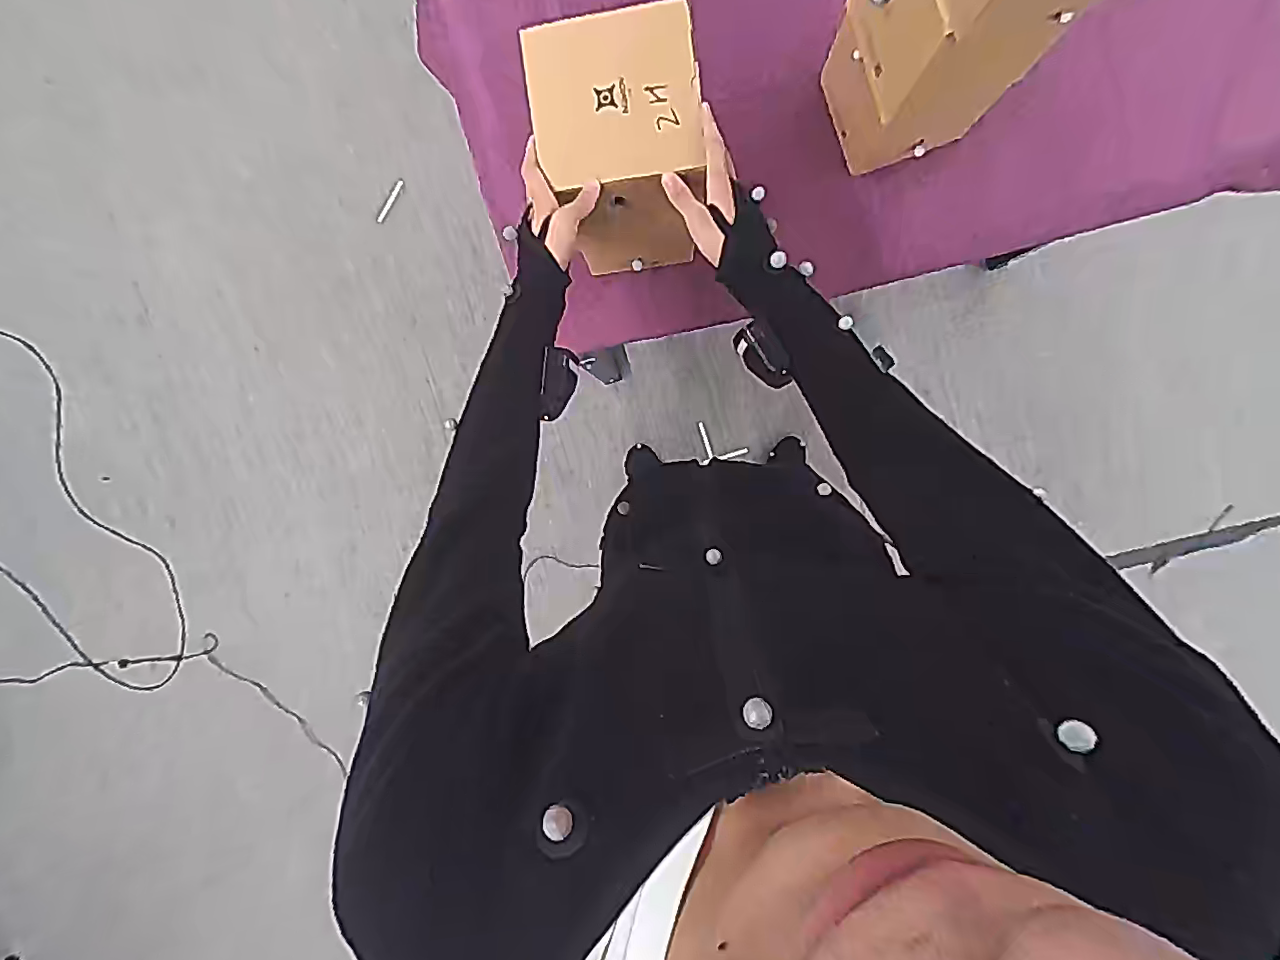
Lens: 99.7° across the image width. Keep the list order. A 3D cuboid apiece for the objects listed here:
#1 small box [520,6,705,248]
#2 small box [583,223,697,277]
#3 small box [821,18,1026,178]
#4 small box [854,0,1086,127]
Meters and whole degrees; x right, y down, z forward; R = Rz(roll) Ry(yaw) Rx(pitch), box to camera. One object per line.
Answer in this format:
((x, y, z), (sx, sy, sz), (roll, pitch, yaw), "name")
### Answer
((-0.022, -0.386, 0.626), (0.179, 0.176, 0.168), (-7, 94, 4), "small box")
((-0.011, -0.416, 0.788), (0.168, 0.176, 0.179), (-6, 94, 4), "small box")
((0.380, -0.563, 0.755), (0.179, 0.176, 0.168), (-19, 92, 4), "small box")
((0.355, -0.535, 0.595), (0.179, 0.176, 0.168), (-18, 93, 4), "small box")
